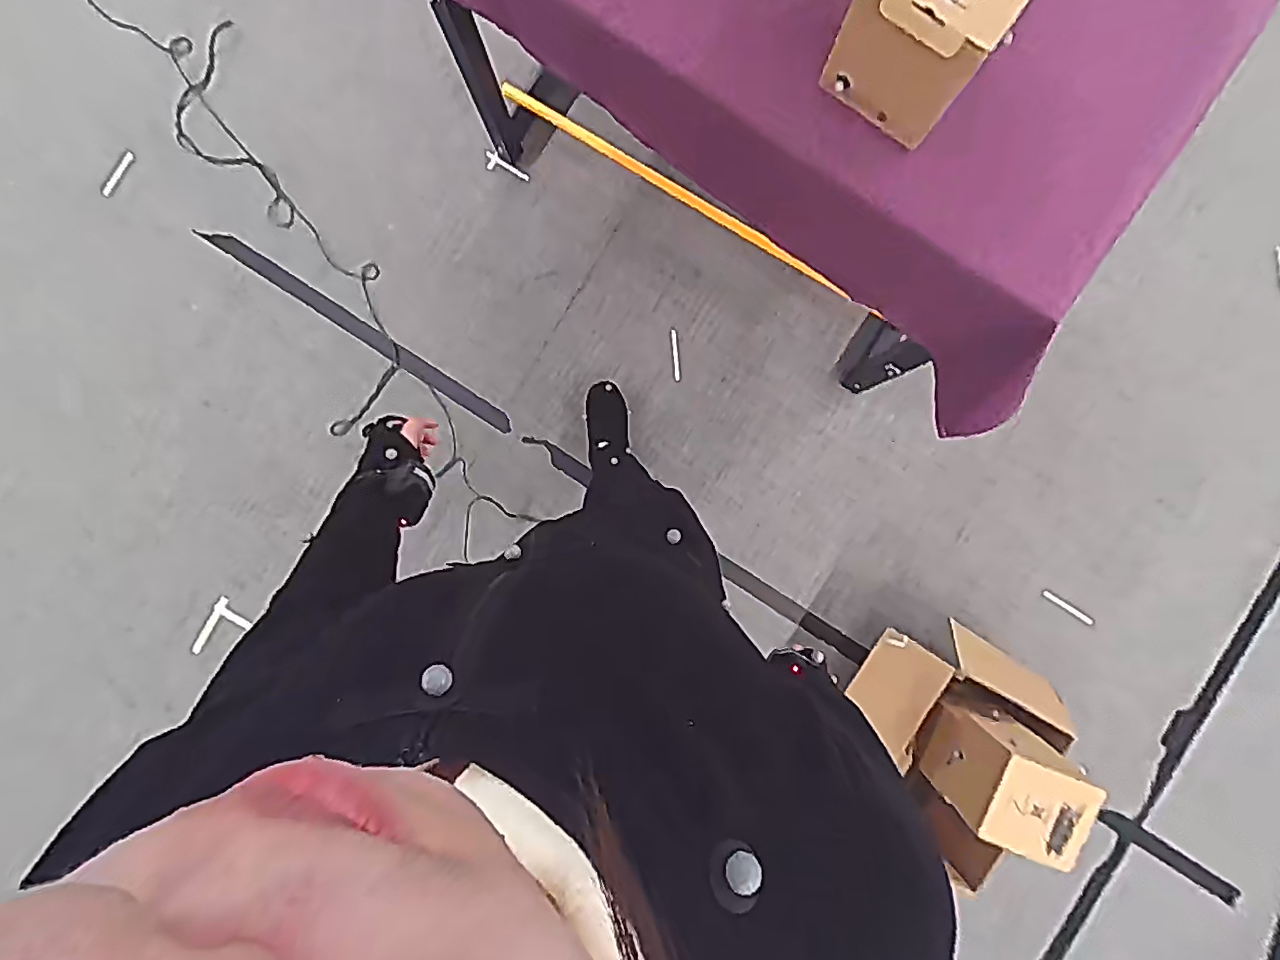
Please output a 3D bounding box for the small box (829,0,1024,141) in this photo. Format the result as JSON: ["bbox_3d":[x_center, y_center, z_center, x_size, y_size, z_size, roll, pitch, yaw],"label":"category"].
[{"bbox_3d":[0.361,-0.578,0.673,0.168,0.176,0.179,36,89,1],"label":"small box"}]

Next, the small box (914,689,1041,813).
[{"bbox_3d":[0.743,0.595,1.210,0.168,0.176,0.179,11,94,3],"label":"small box"}]
